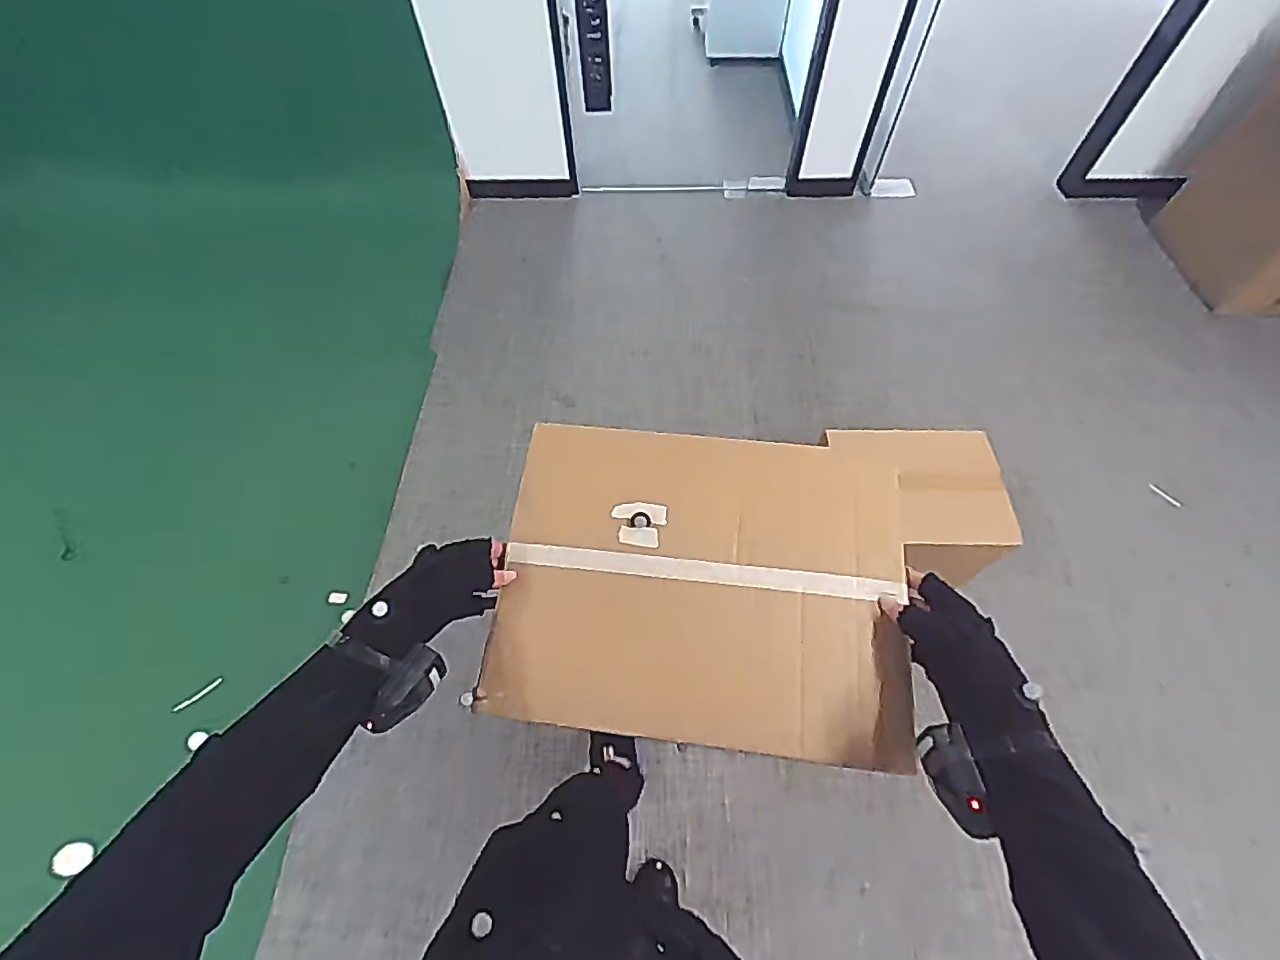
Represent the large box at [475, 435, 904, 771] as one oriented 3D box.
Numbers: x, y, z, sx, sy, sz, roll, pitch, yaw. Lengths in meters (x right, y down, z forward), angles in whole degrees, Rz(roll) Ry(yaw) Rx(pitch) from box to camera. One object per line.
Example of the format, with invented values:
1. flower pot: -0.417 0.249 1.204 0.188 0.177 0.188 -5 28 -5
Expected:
1. large box: 0.066 0.159 0.689 0.408 0.320 0.320 5 66 7
